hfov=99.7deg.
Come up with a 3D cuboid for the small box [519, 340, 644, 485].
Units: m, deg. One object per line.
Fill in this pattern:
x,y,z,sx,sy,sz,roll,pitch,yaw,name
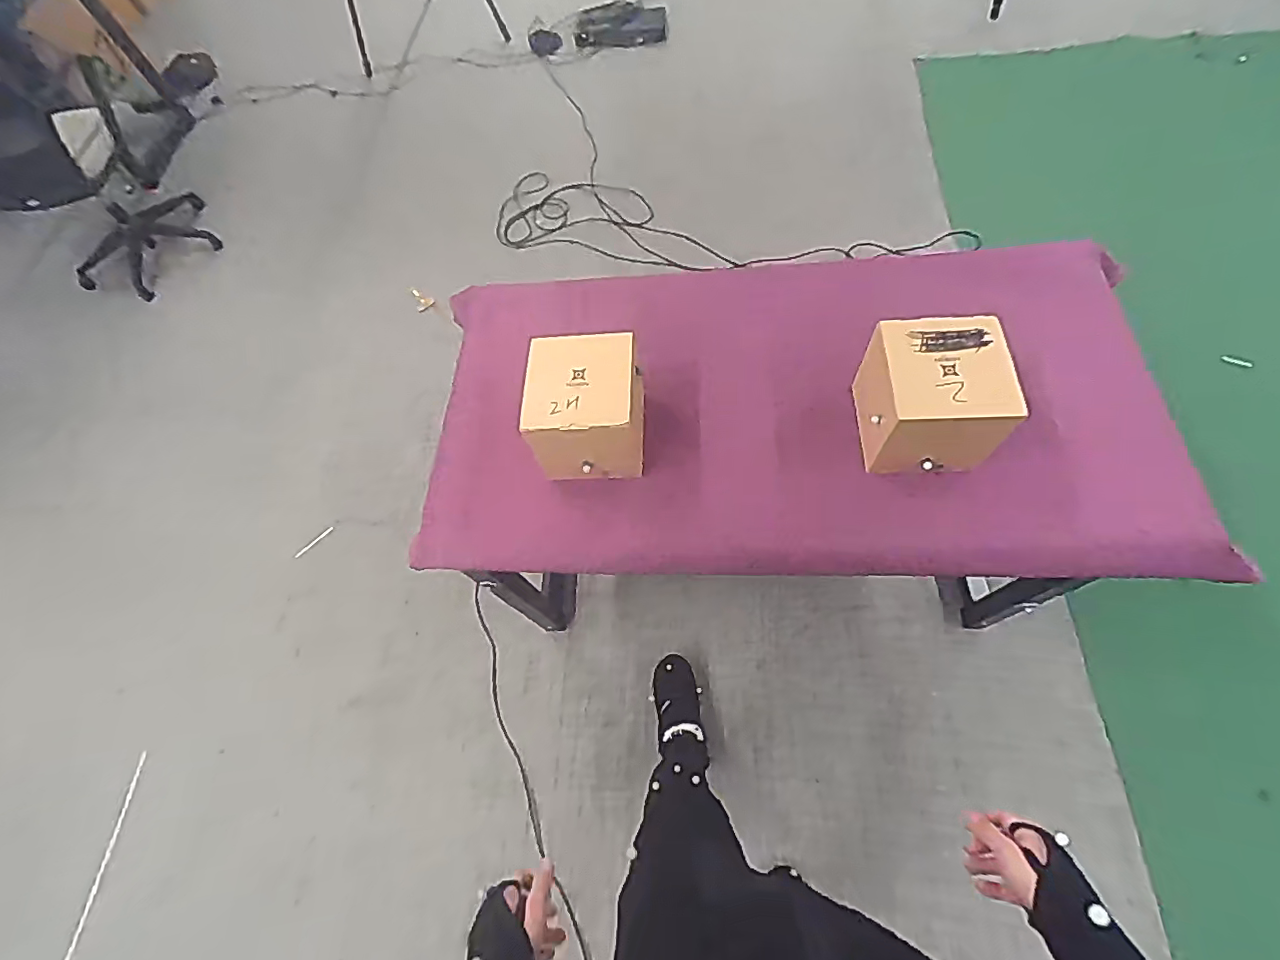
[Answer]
-0.086,-0.107,0.896,0.168,0.176,0.179,-2,63,7,small box
